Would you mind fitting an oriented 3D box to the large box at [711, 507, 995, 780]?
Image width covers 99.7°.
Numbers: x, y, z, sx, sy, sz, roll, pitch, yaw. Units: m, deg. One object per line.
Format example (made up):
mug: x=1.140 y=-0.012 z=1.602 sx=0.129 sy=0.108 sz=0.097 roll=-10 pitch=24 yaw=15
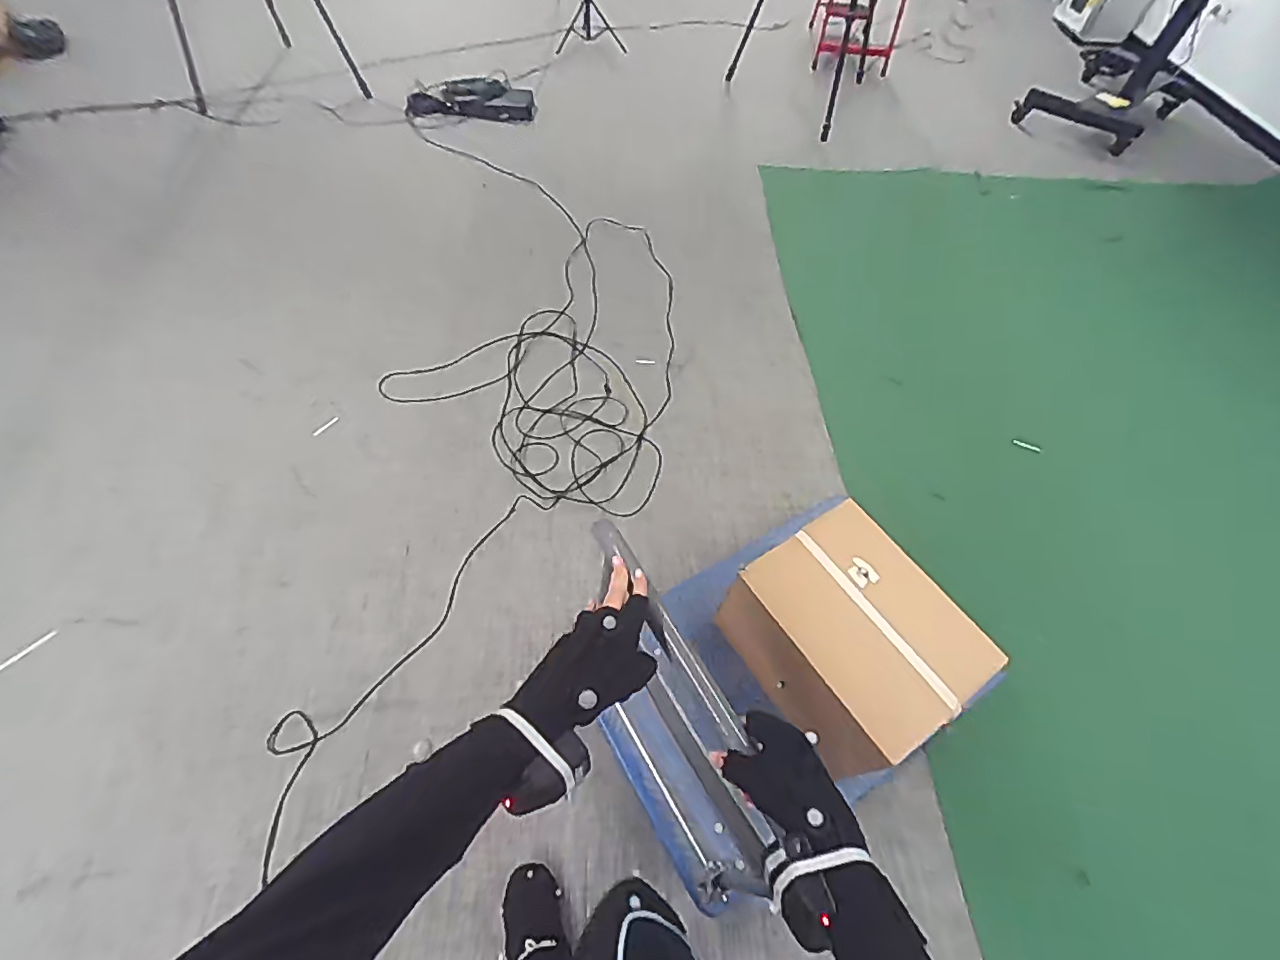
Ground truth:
large box: x=0.407 y=0.343 z=1.139 sx=0.320 sy=0.320 sz=0.408 roll=-28 pitch=62 yaw=-21
